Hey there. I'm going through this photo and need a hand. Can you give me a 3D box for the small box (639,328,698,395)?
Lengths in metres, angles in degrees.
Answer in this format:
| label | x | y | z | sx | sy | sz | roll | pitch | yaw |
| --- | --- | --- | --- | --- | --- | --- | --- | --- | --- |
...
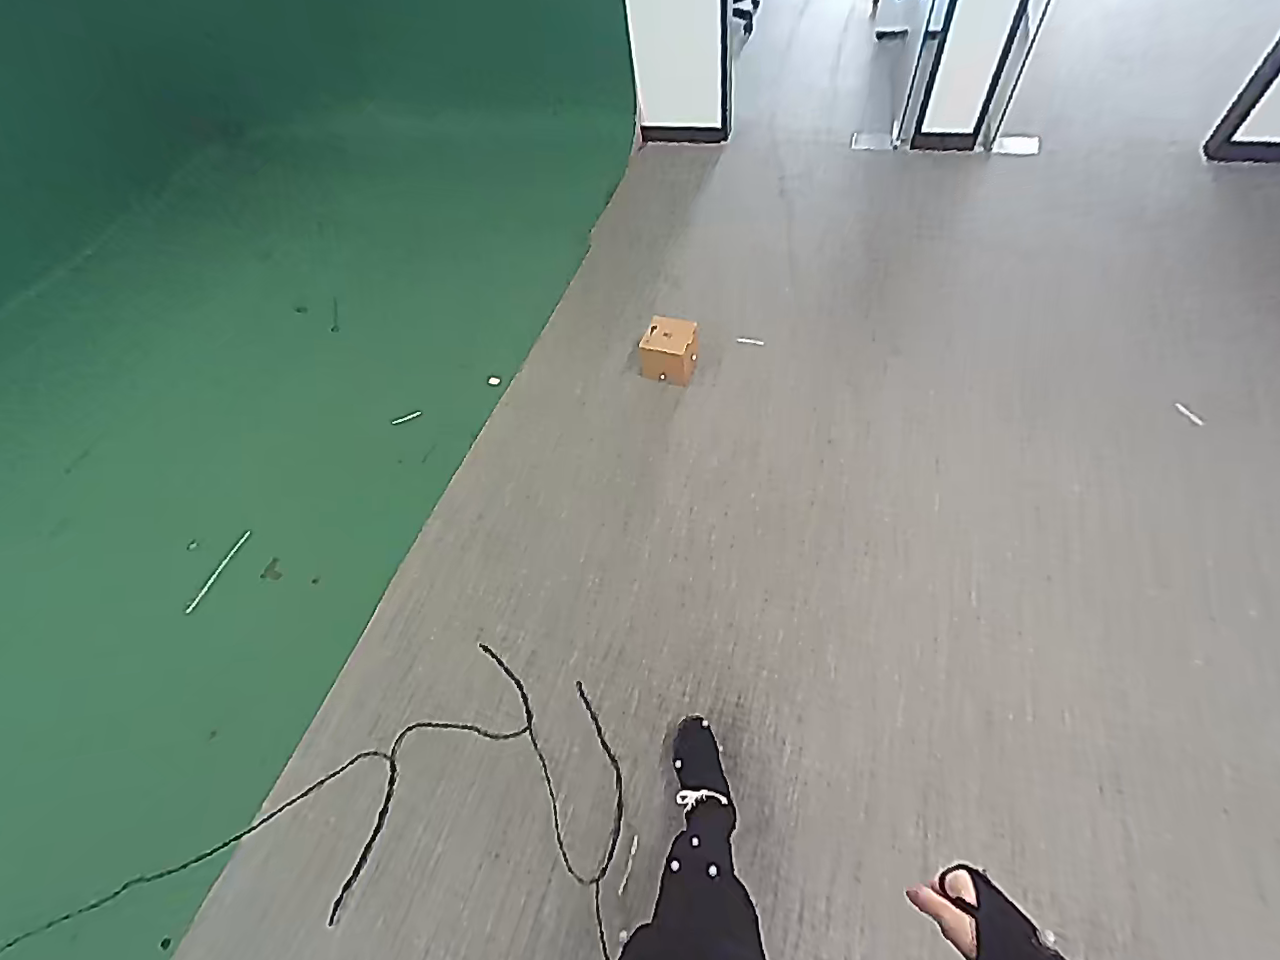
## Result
| label | x | y | z | sx | sy | sz | roll | pitch | yaw |
| --- | --- | --- | --- | --- | --- | --- | --- | --- | --- |
| small box | 0.115 | -0.446 | 2.054 | 0.179 | 0.176 | 0.168 | 16 | 61 | 18 |
